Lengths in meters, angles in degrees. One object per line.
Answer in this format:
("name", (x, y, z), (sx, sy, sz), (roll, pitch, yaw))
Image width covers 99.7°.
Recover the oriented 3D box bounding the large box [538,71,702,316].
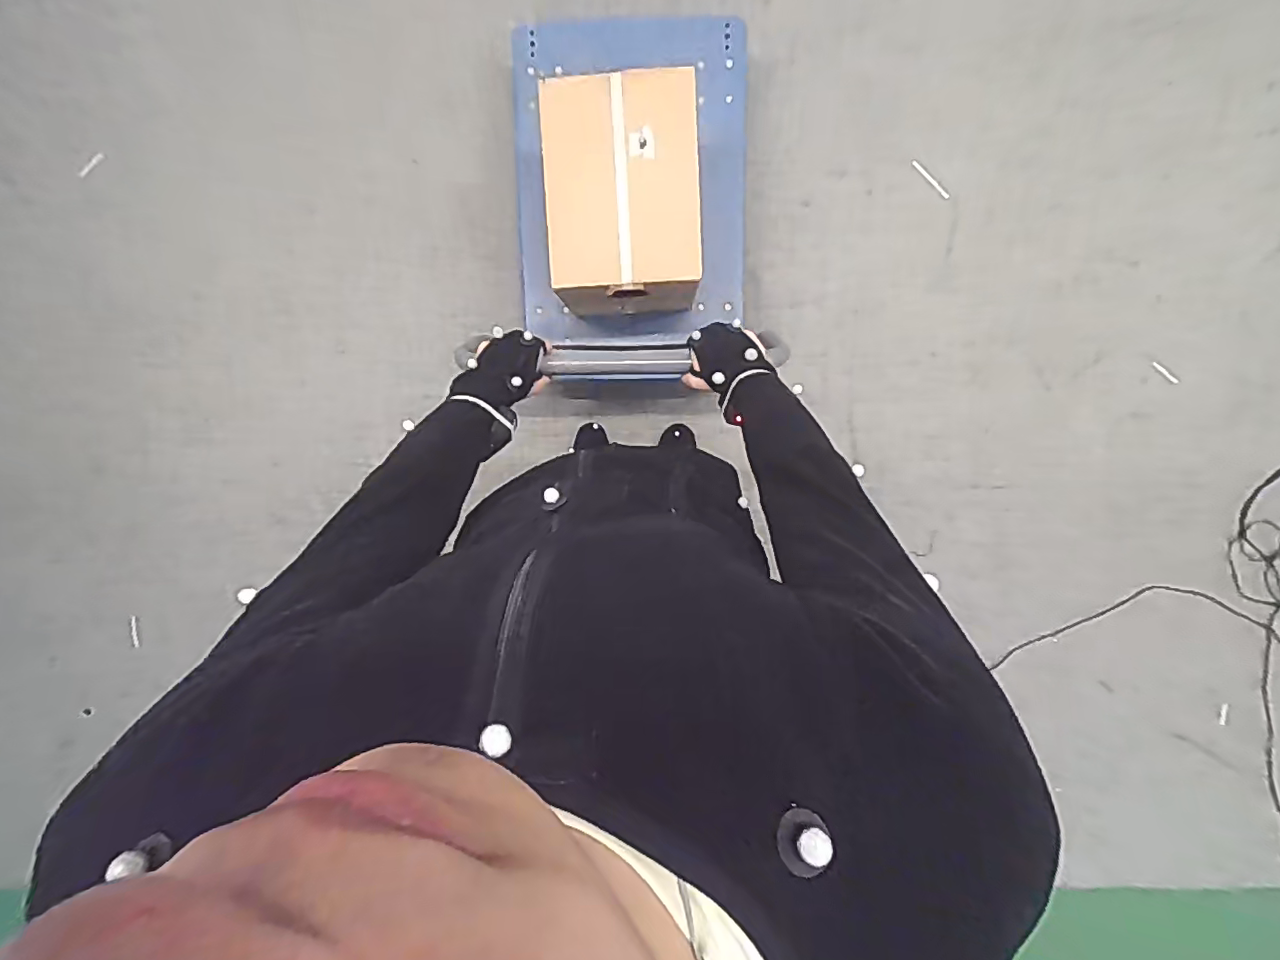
("large box", (-0.033, -0.618, 1.241), (0.320, 0.320, 0.408), (-3, 97, 2))
